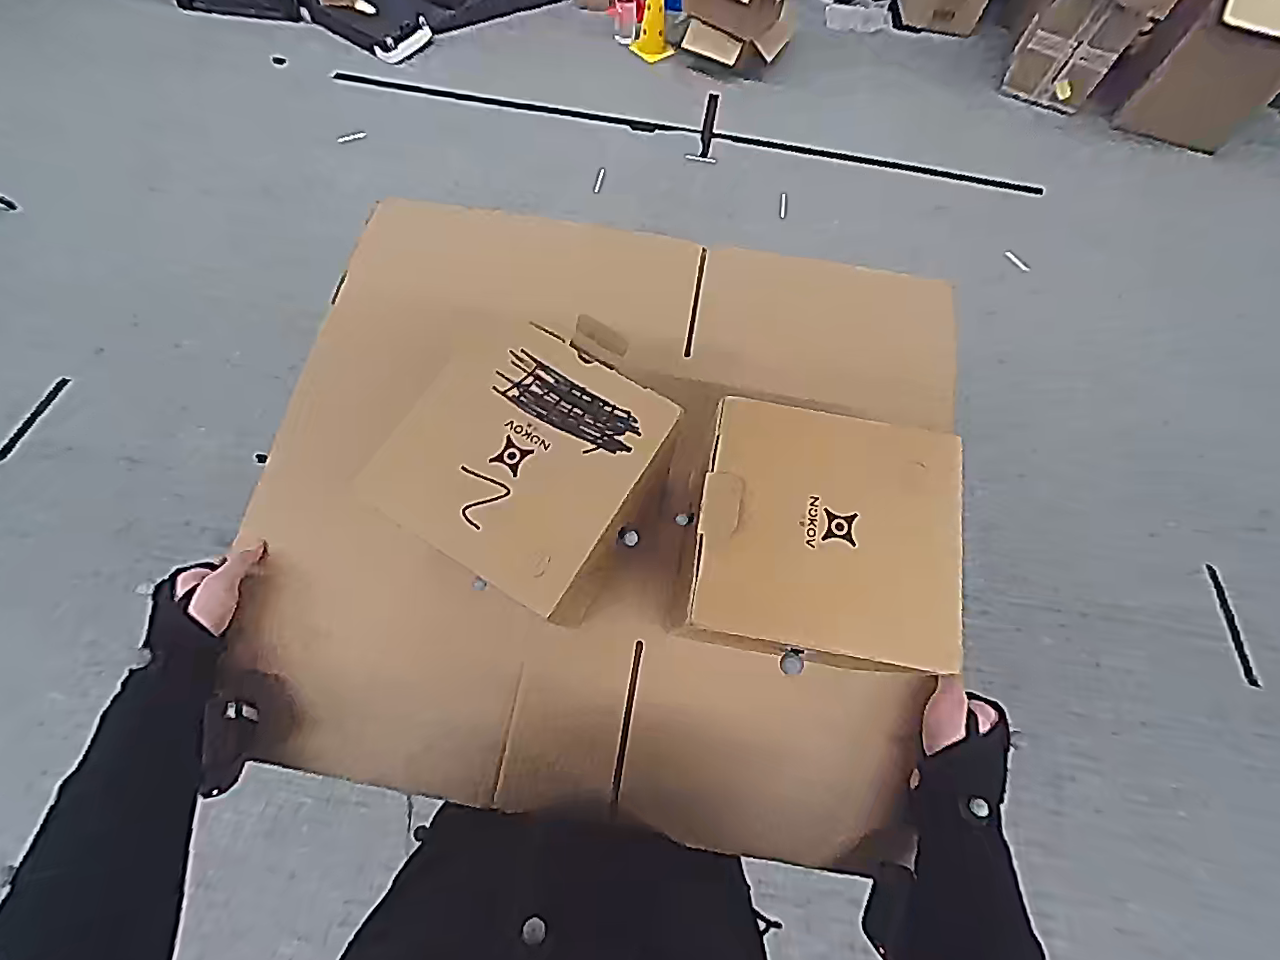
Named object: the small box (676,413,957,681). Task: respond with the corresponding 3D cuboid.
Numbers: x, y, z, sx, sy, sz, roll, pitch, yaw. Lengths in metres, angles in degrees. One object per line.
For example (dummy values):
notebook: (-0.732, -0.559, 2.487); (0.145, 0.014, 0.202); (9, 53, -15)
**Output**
small box: (0.133, 0.064, 0.457); (0.179, 0.176, 0.168); (10, 72, 2)
